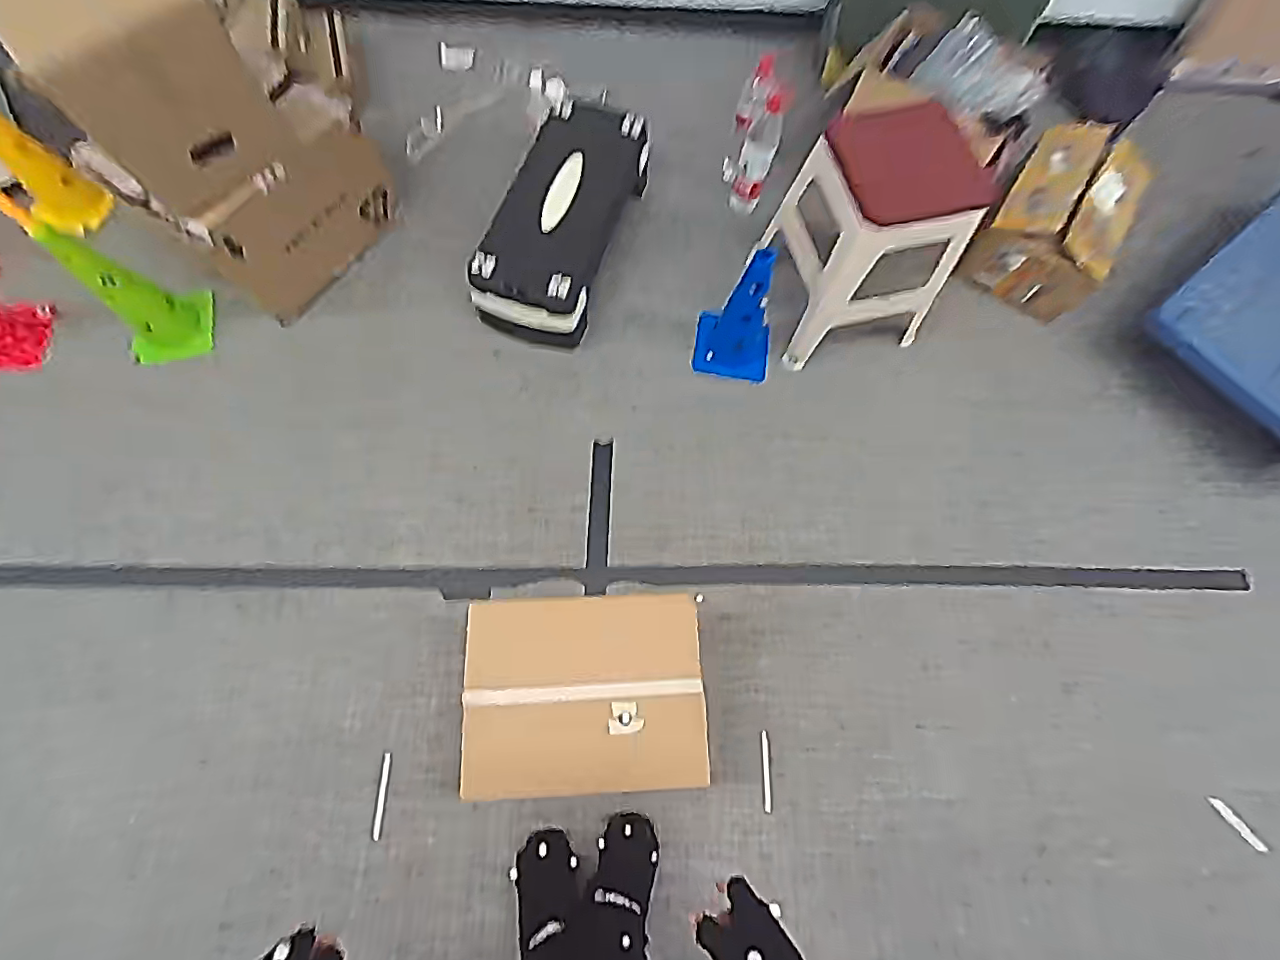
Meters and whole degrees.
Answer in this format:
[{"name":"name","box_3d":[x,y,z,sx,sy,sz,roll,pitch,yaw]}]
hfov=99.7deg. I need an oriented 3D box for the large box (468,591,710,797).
[{"name":"large box","box_3d":[-0.099,0.404,1.064,0.408,0.320,0.320,-1,72,-4]}]
